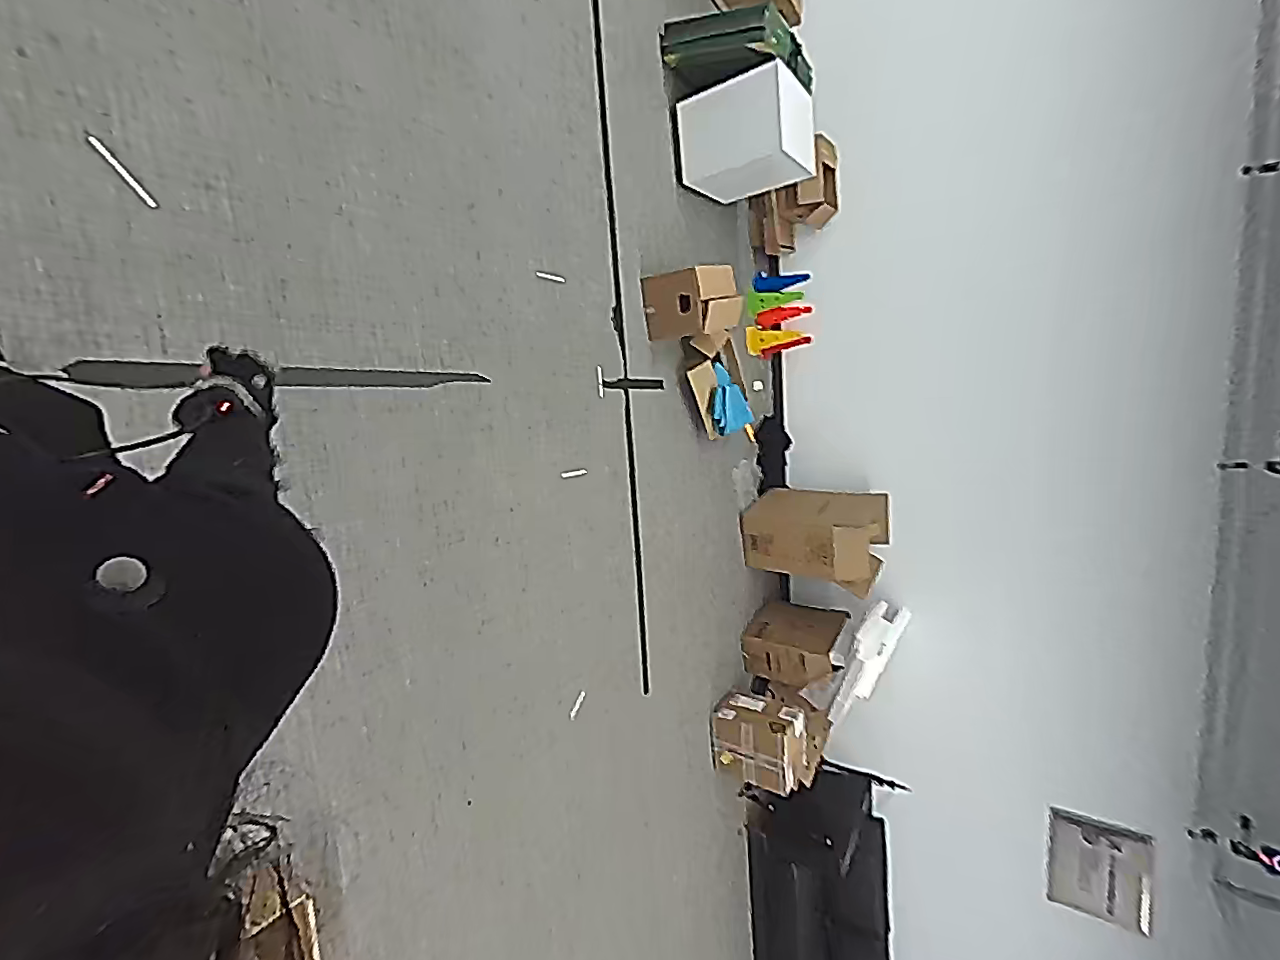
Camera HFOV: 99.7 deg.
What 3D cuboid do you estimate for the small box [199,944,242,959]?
[{"bbox_3d":[-0.946,1.183,1.179,0.168,0.176,0.179,-16,105,-53],"label":"small box"}]
